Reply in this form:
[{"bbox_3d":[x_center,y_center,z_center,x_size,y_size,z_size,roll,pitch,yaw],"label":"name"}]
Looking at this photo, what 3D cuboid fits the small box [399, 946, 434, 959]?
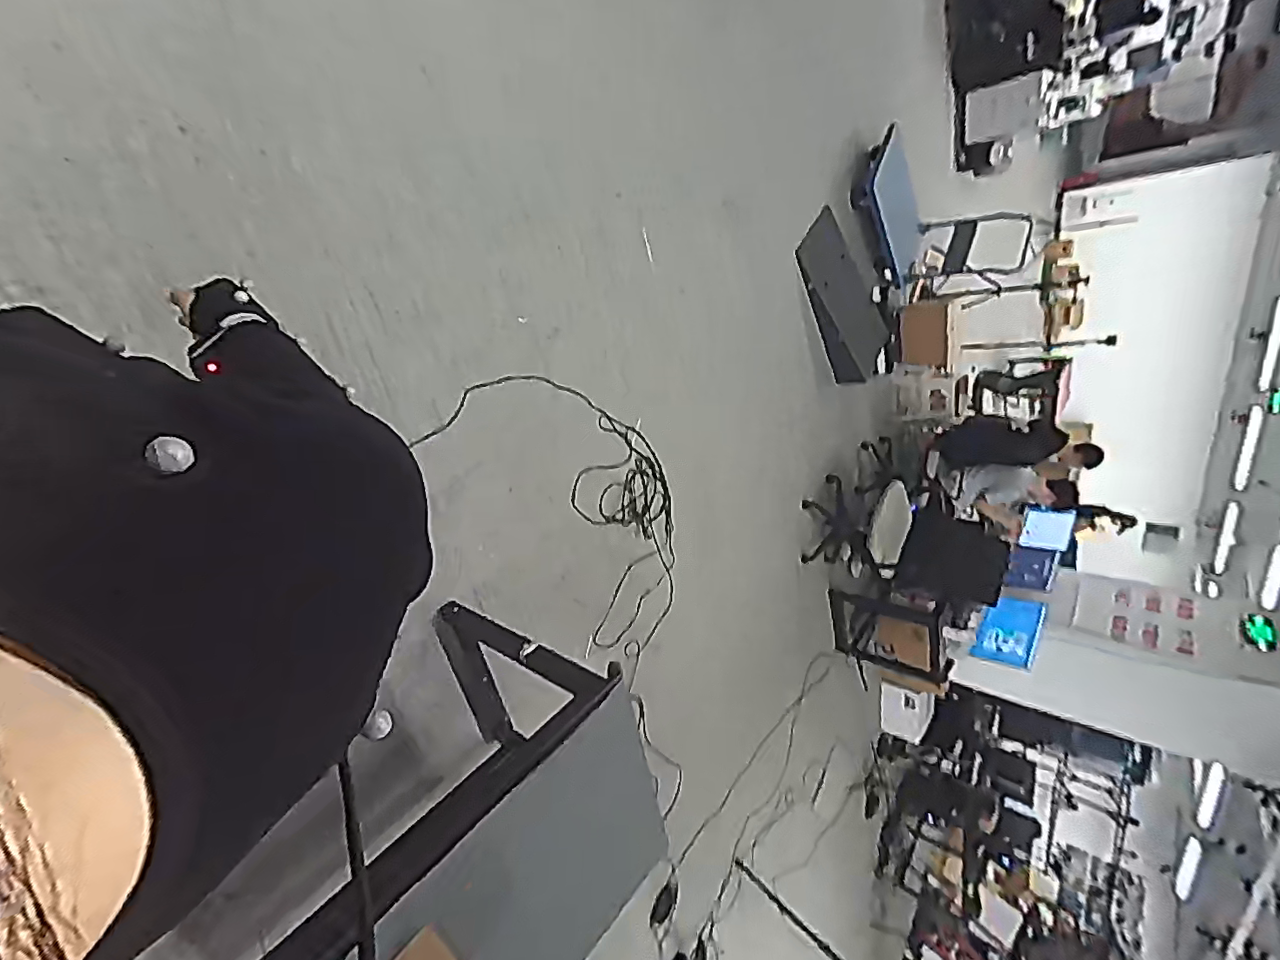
[{"bbox_3d":[-0.341,0.883,0.831,0.168,0.176,0.179,-37,124,-39],"label":"small box"}]
